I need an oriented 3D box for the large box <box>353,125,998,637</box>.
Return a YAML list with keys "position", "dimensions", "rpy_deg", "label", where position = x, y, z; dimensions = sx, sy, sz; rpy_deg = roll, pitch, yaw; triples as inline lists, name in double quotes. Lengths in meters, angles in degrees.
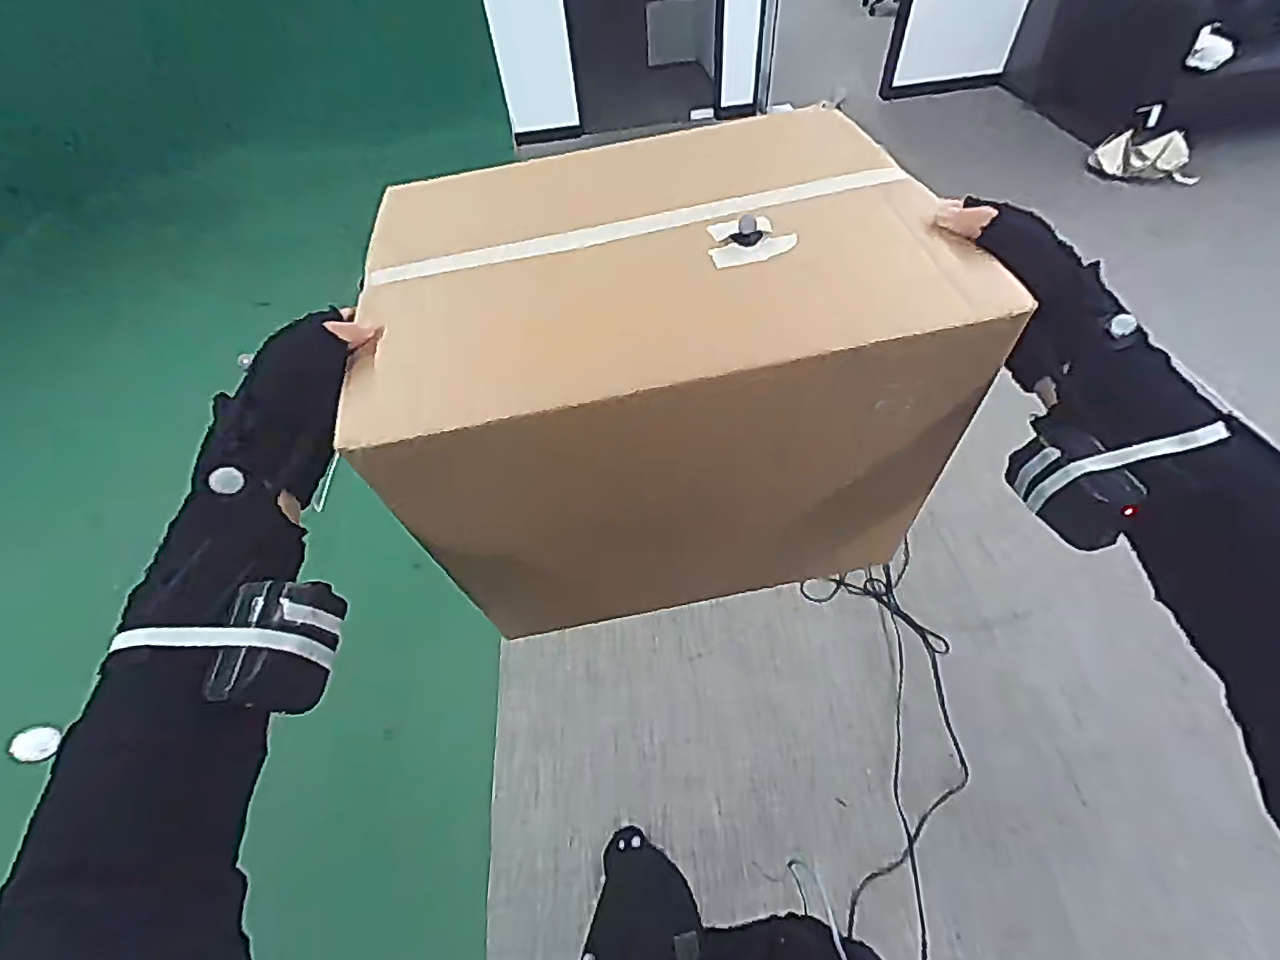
- position: [0.012, -0.084, 0.526]
  dimensions: [0.408, 0.320, 0.320]
  rpy_deg: [-12, 54, -1]
  label: "large box"
